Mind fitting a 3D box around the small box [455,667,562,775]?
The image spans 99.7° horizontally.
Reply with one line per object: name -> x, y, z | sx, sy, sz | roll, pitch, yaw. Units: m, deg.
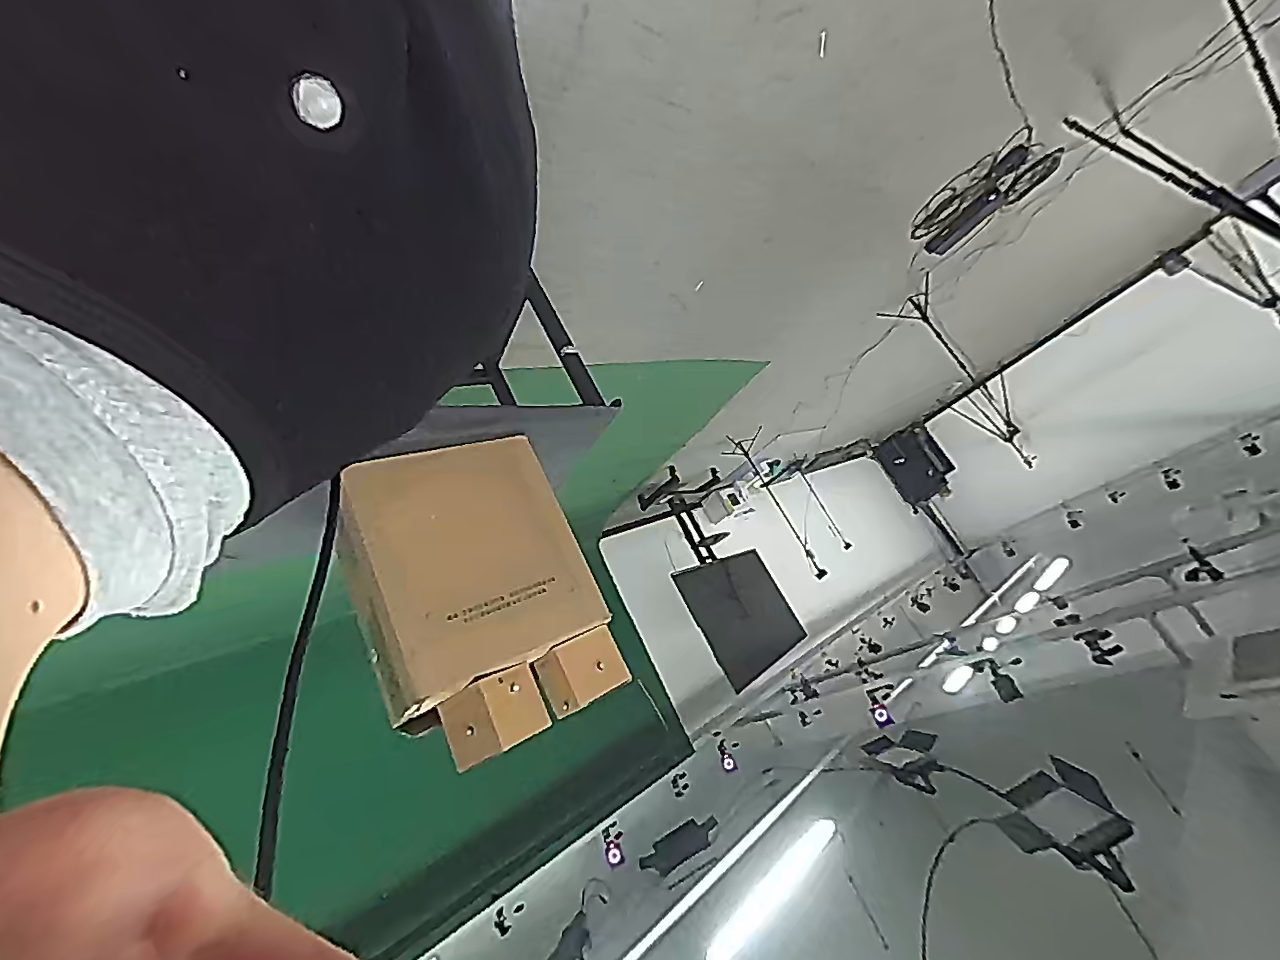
small box -> -0.332, 0.586, 1.334 | 0.179, 0.176, 0.168 | -38, 160, 26

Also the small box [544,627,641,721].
small box -> -0.134, 0.530, 1.493 | 0.179, 0.176, 0.168 | -18, 159, -38
